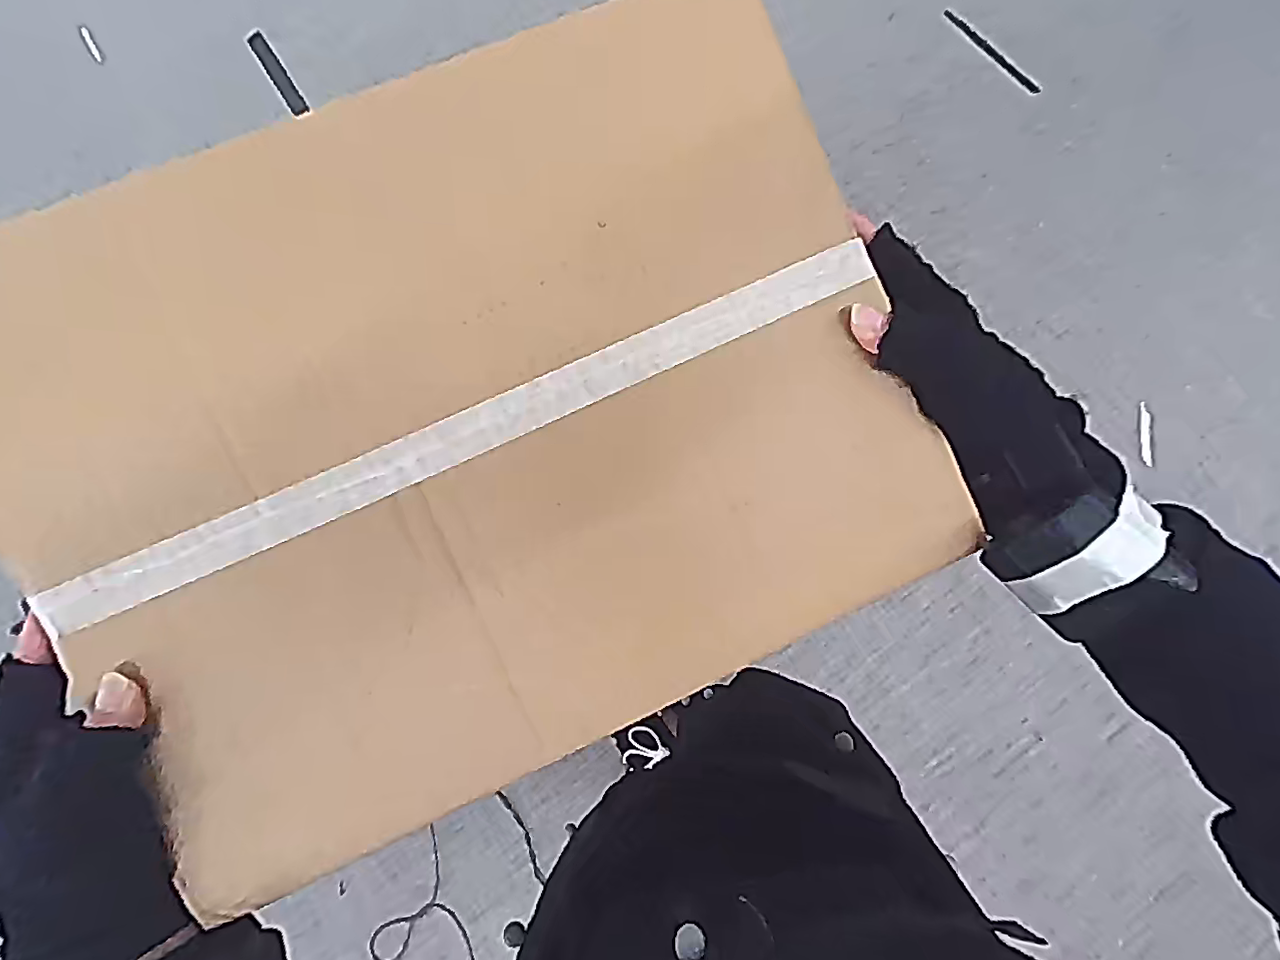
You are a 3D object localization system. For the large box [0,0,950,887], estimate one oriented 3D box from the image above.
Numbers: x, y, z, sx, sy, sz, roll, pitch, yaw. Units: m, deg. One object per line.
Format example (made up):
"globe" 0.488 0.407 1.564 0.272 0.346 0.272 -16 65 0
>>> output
"large box" -0.086 -0.031 0.410 0.408 0.320 0.320 -24 92 -5
